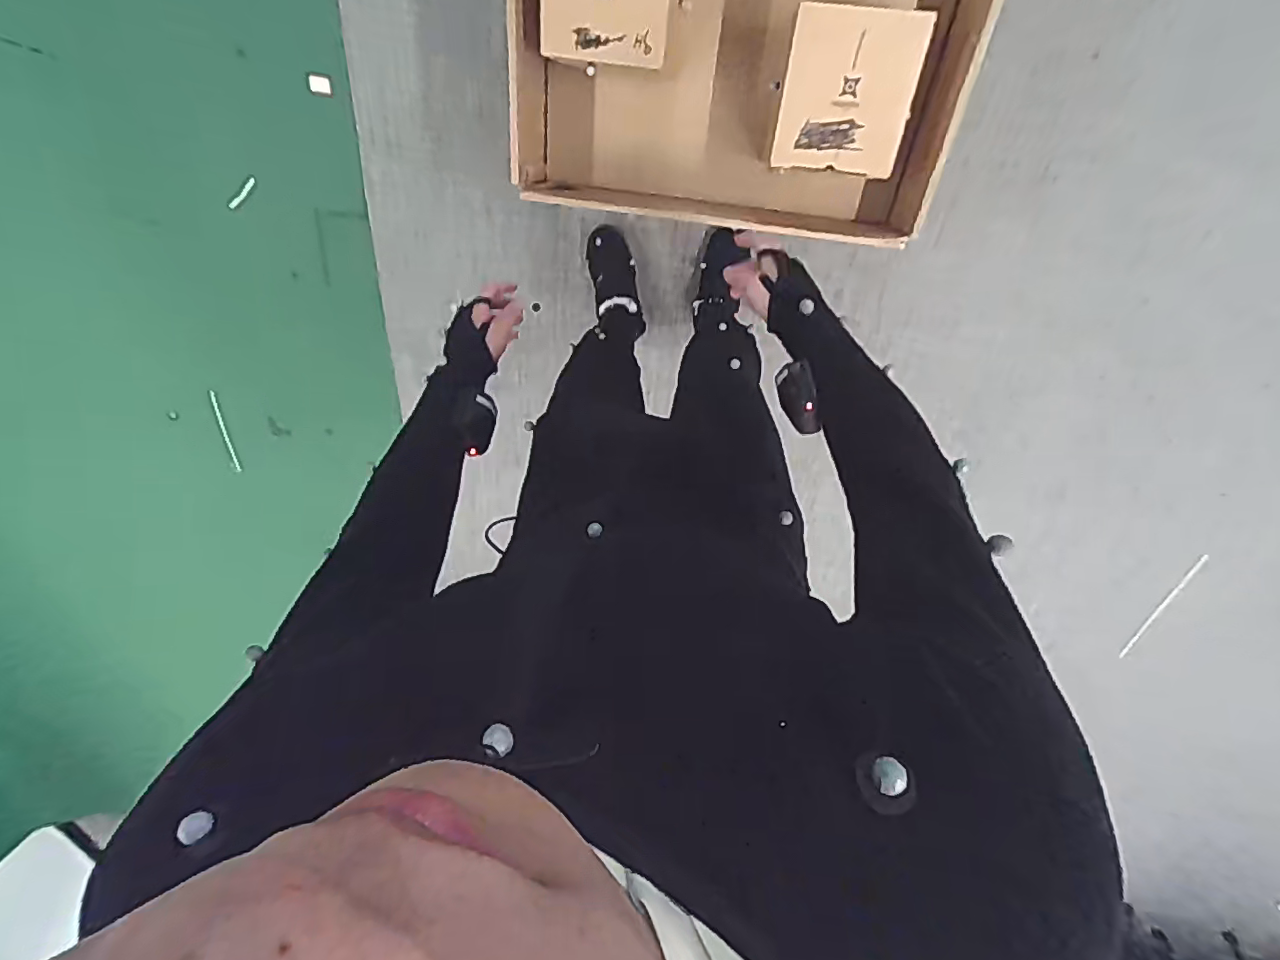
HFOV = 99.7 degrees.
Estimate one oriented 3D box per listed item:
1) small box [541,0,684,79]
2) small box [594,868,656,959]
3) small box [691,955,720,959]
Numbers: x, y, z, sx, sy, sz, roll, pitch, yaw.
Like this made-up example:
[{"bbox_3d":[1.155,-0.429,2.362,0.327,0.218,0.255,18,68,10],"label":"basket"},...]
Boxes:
[{"bbox_3d":[-0.028,-0.662,0.723,0.168,0.176,0.179,10,123,1],"label":"small box"},{"bbox_3d":[-0.042,1.315,1.632,0.168,0.176,0.179,6,122,4],"label":"small box"},{"bbox_3d":[0.214,1.453,1.488,0.168,0.176,0.179,5,123,4],"label":"small box"}]
